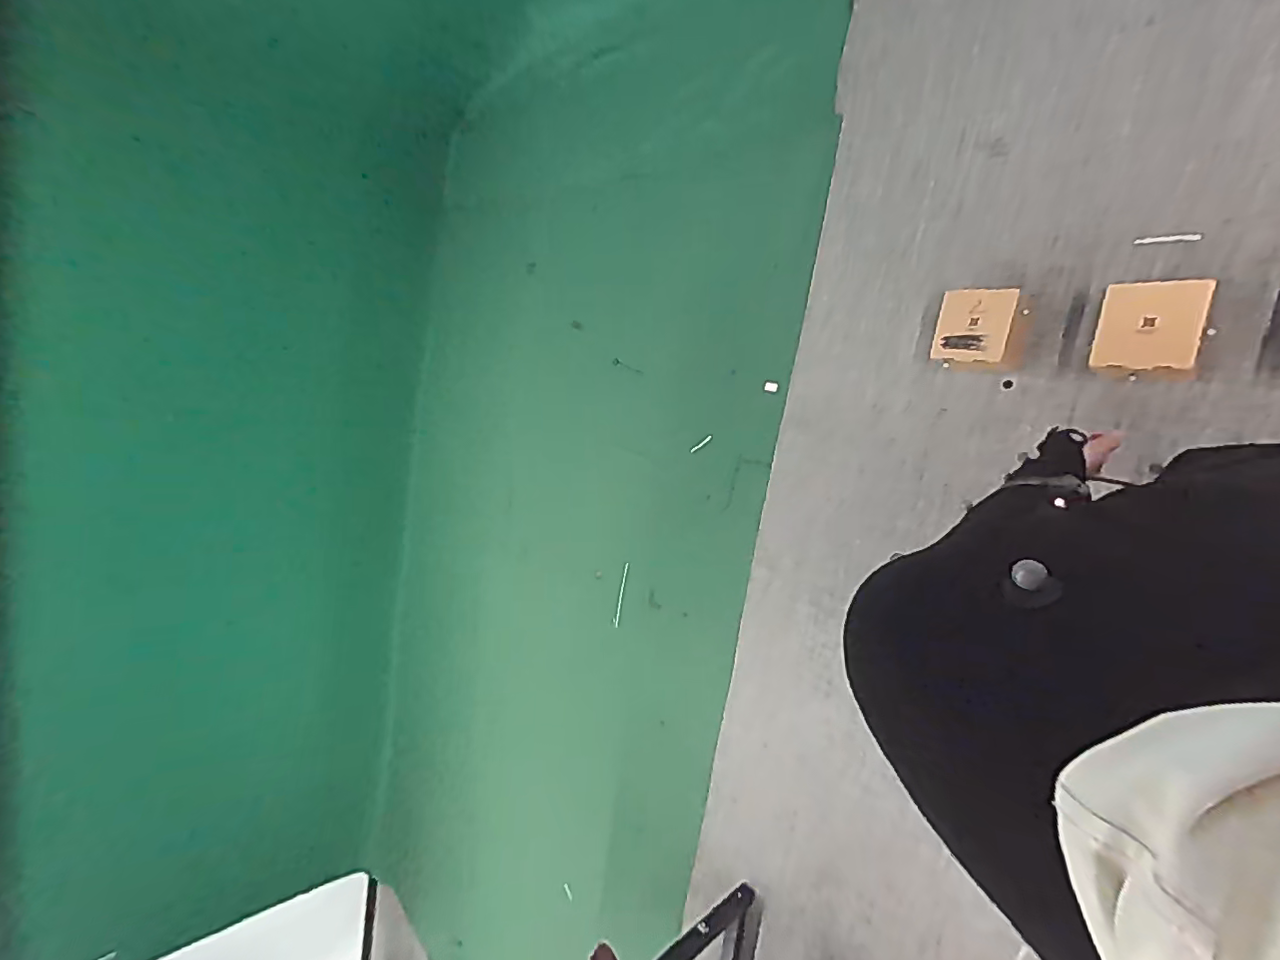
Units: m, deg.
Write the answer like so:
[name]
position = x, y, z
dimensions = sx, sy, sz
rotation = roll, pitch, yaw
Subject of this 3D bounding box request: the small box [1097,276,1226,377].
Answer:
[small box]
position = 1.124, -0.327, 1.171
dimensions = 0.168, 0.176, 0.179
rotation = 16, 102, 45
